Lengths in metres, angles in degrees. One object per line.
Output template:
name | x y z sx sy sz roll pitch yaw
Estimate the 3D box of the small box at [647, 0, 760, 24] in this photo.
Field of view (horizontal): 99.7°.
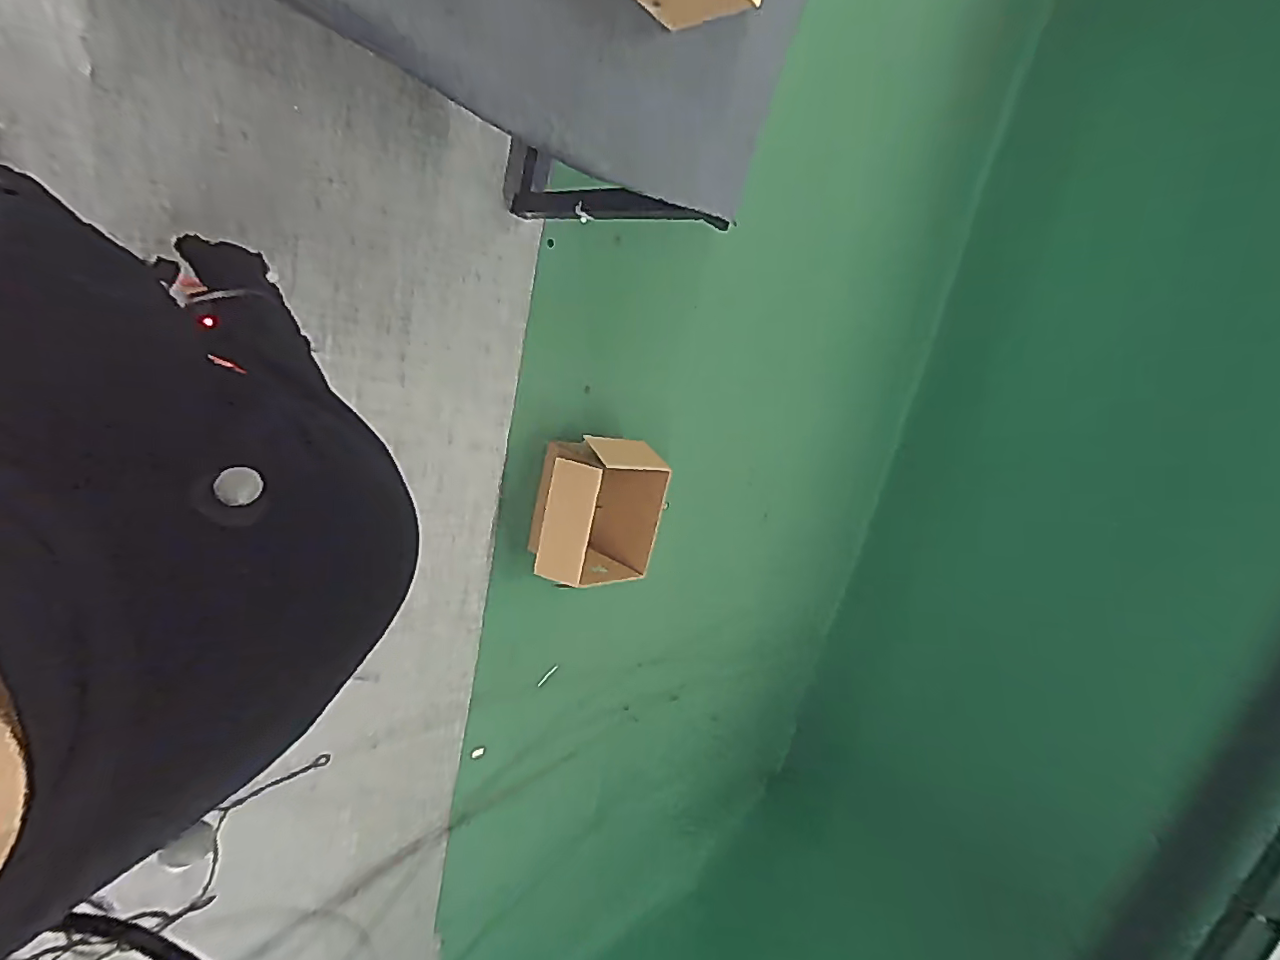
small box | 0.070 -0.741 0.697 0.168 0.176 0.179 0 110 -46
